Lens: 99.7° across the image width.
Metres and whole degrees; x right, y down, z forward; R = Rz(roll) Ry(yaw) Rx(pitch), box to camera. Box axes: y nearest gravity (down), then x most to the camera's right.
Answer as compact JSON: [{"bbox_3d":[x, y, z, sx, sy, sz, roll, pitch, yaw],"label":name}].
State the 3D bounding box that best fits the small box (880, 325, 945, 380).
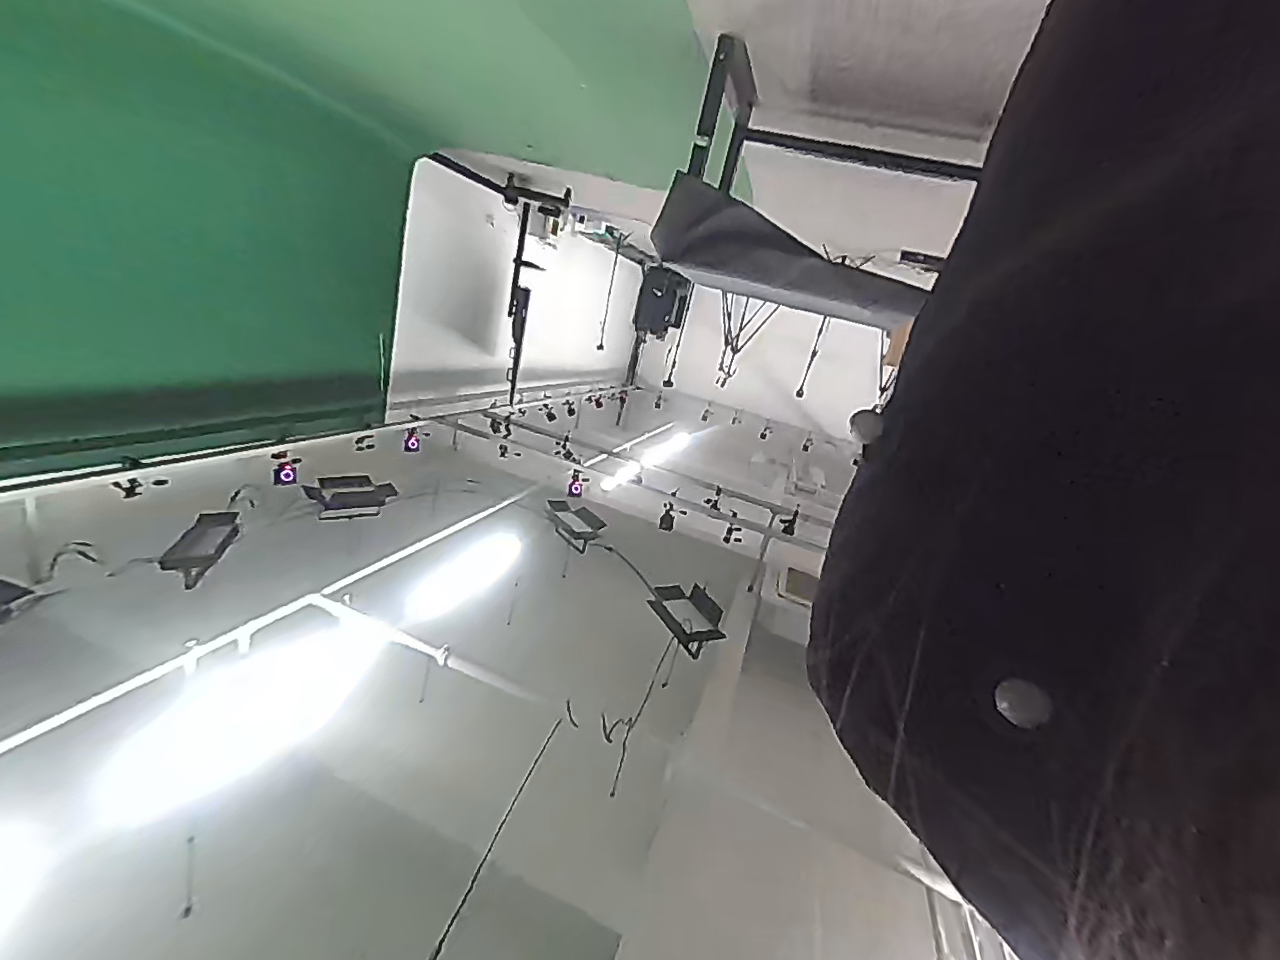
[{"bbox_3d":[1.023,-0.481,2.034,0.168,0.176,0.179,19,-162,14],"label":"small box"}]
